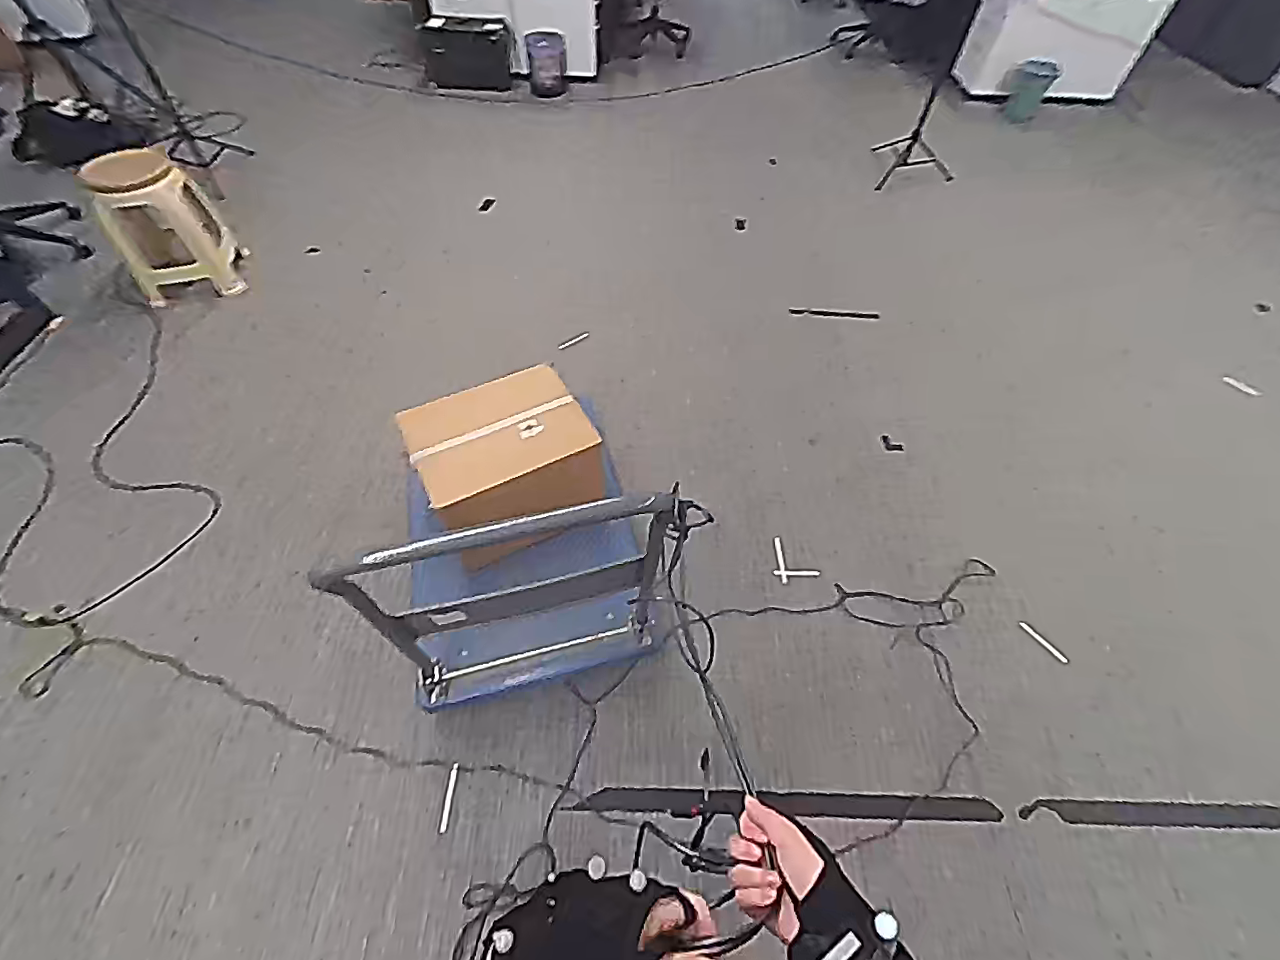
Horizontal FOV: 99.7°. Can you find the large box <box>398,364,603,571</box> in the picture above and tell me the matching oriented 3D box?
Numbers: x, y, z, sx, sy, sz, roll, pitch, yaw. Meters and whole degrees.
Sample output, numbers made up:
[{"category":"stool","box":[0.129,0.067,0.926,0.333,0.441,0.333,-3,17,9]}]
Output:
[{"category":"large box","box":[-0.341,-0.033,1.397,0.408,0.320,0.320,-24,60,-19]}]
